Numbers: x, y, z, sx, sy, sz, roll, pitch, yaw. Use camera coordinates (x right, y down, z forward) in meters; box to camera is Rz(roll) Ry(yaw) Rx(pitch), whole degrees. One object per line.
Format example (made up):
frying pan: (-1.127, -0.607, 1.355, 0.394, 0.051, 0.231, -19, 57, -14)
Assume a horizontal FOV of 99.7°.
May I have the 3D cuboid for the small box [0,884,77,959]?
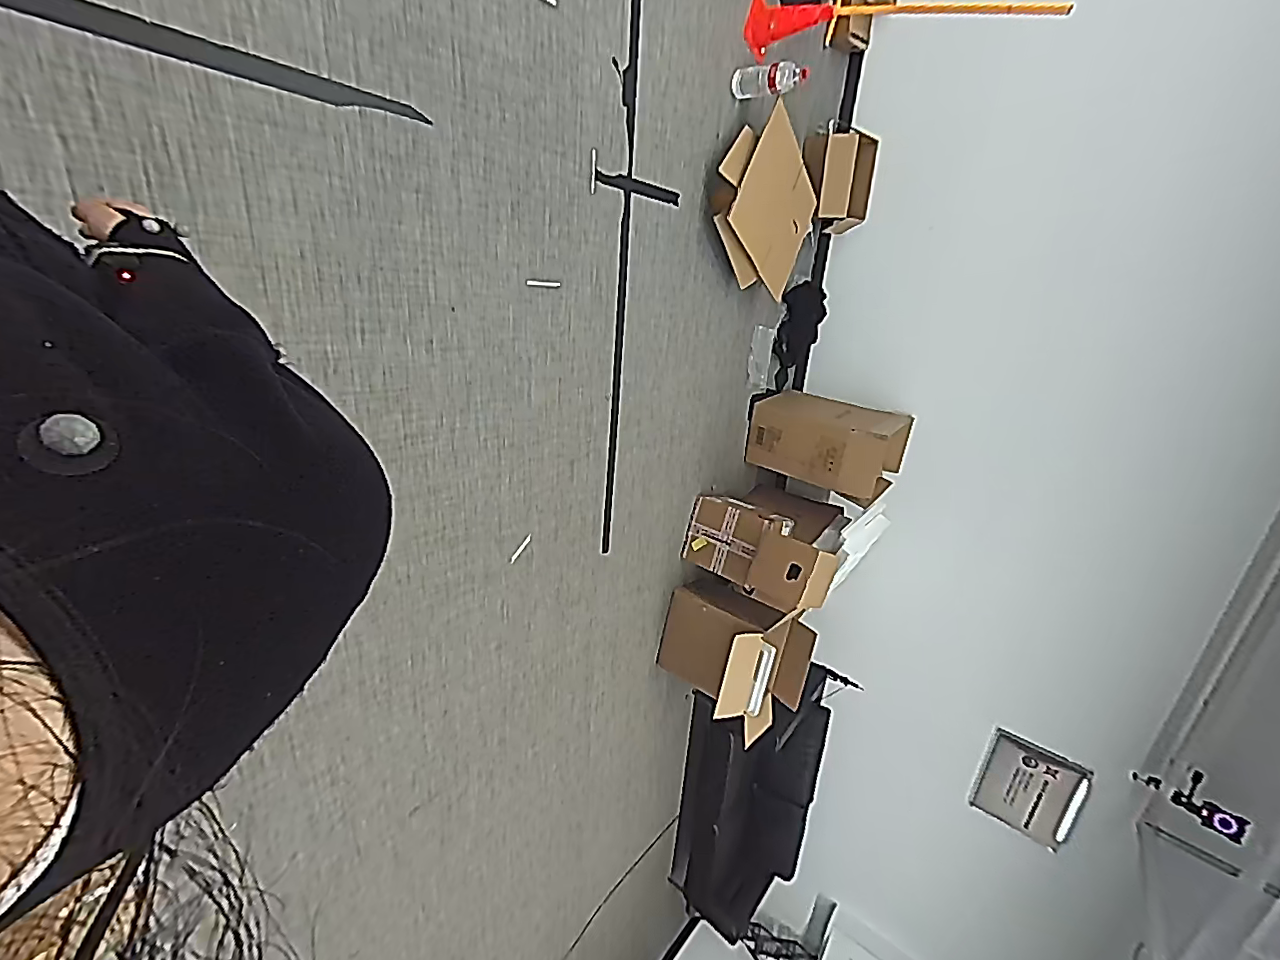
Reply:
small box: (-1.099, 0.853, 0.921, 0.179, 0.176, 0.168, -21, 120, -47)
